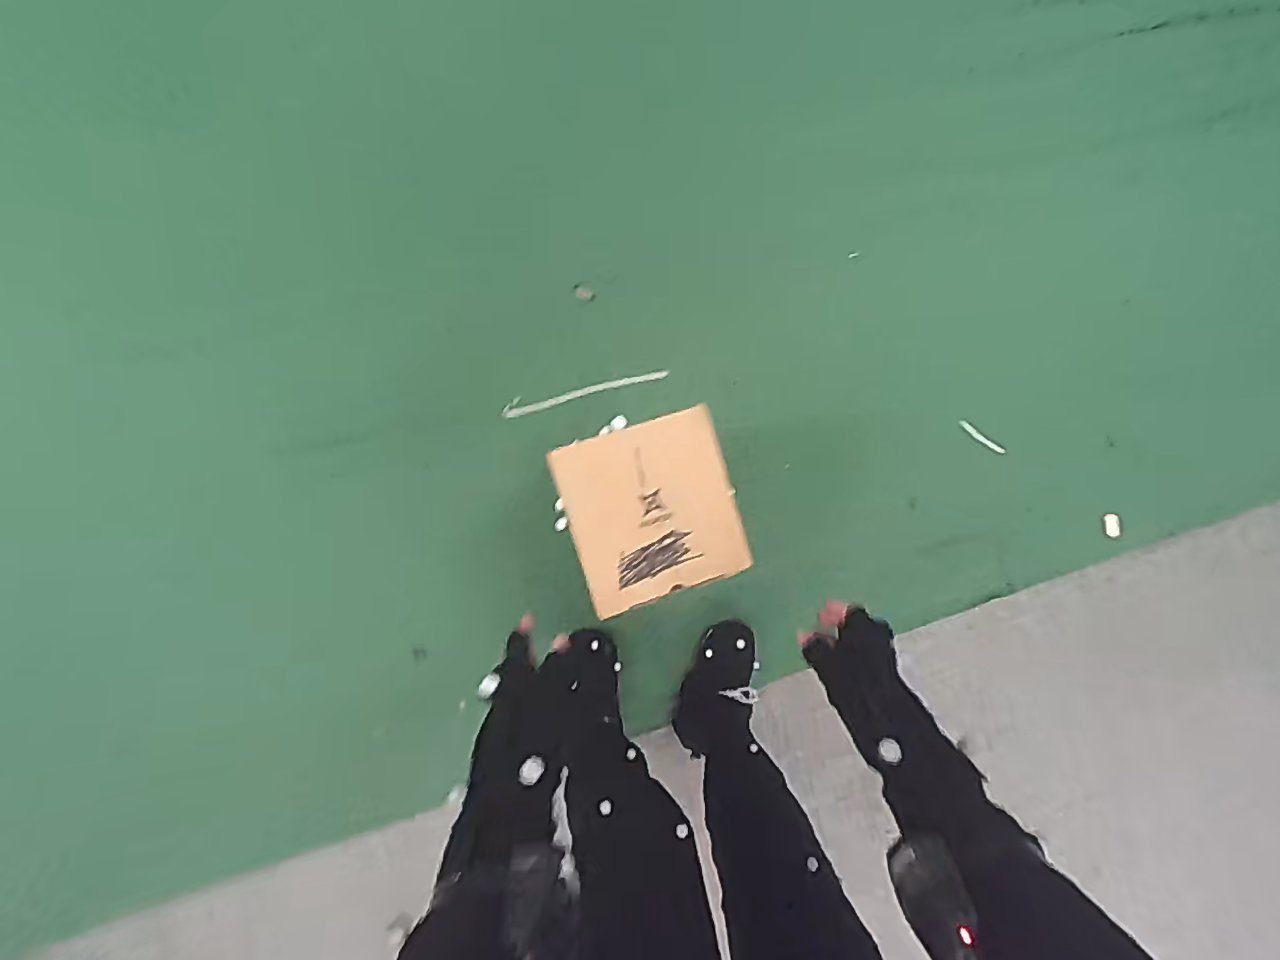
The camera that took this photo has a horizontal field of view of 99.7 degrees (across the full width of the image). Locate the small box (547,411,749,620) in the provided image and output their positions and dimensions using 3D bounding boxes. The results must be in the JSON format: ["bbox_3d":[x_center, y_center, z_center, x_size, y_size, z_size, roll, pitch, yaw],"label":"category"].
[{"bbox_3d":[0.001,0.032,0.616,0.168,0.176,0.179,-18,93,-7],"label":"small box"}]
